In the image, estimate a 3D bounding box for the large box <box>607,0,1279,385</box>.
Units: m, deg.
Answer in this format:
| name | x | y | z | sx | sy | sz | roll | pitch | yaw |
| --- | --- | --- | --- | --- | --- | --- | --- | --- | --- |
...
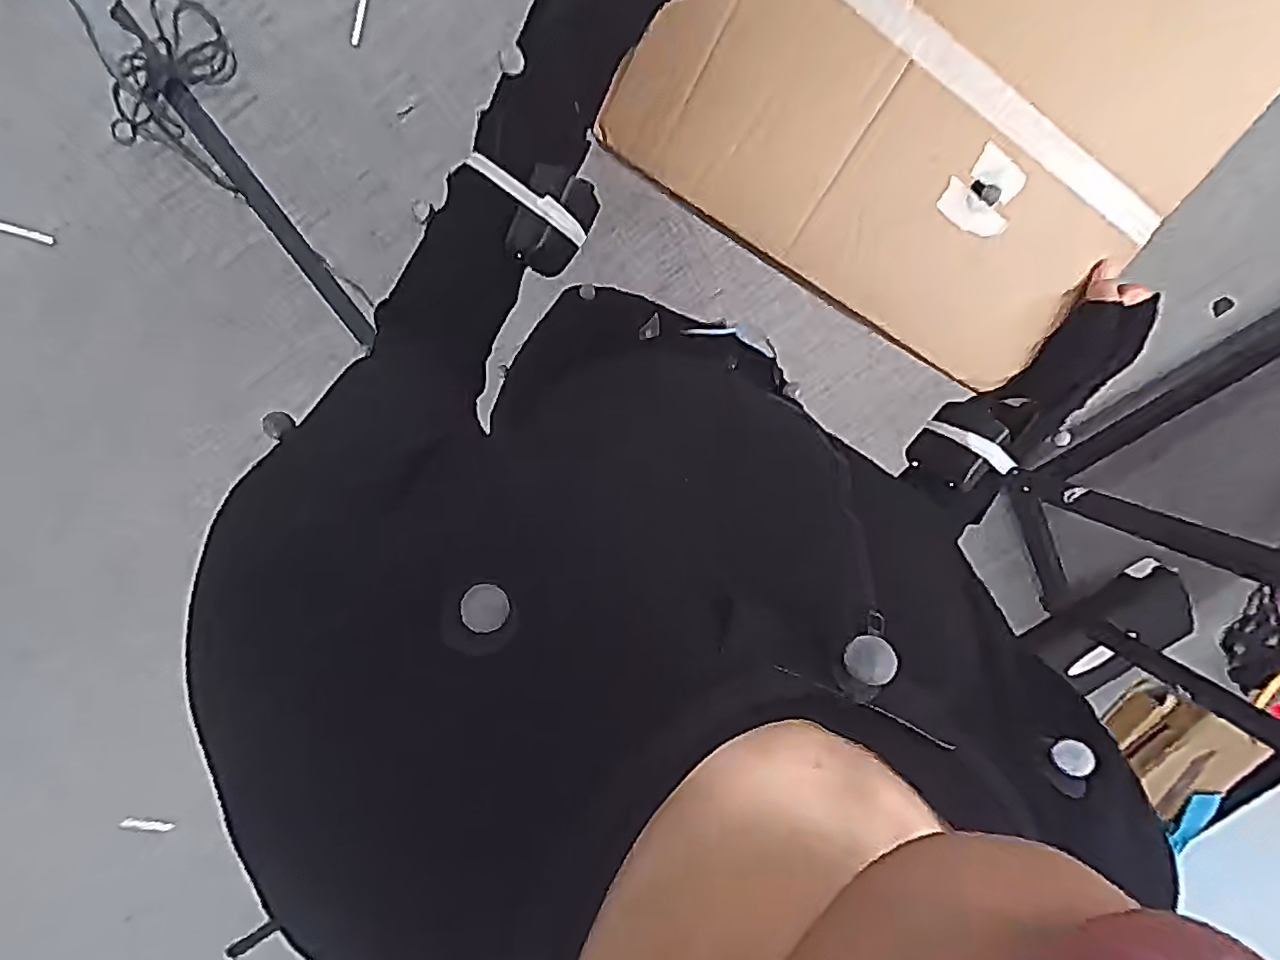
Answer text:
| name | x | y | z | sx | sy | sz | roll | pitch | yaw |
| --- | --- | --- | --- | --- | --- | --- | --- | --- | --- |
| large box | 0.211 | -0.354 | 0.506 | 0.408 | 0.320 | 0.320 | 26 | 116 | -17 |
